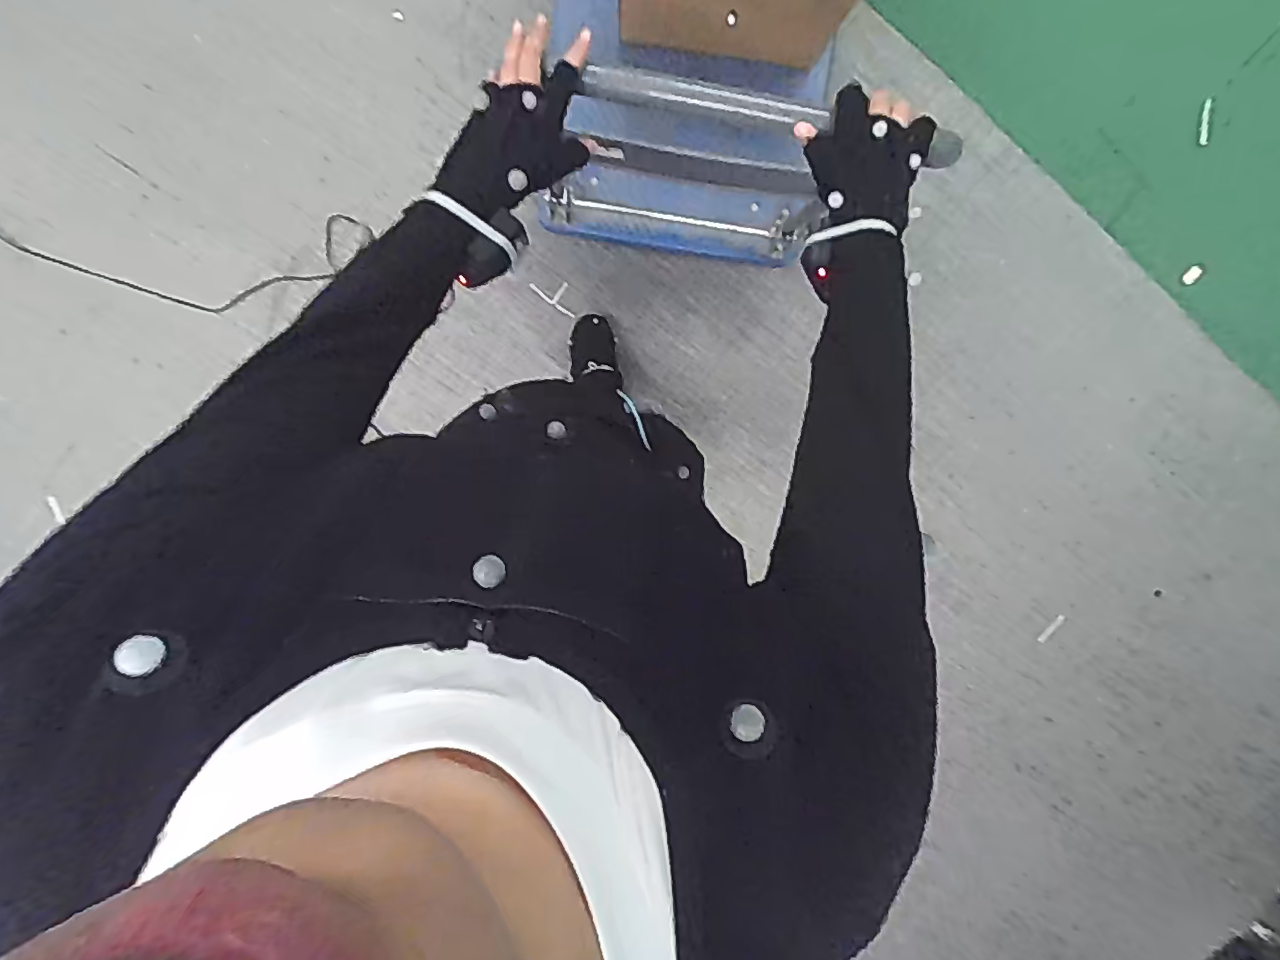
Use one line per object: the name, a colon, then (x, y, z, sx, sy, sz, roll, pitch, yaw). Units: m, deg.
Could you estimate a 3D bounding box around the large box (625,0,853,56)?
large box: (0.184, -1.002, 0.935, 0.408, 0.320, 0.320, 4, 101, -3)
